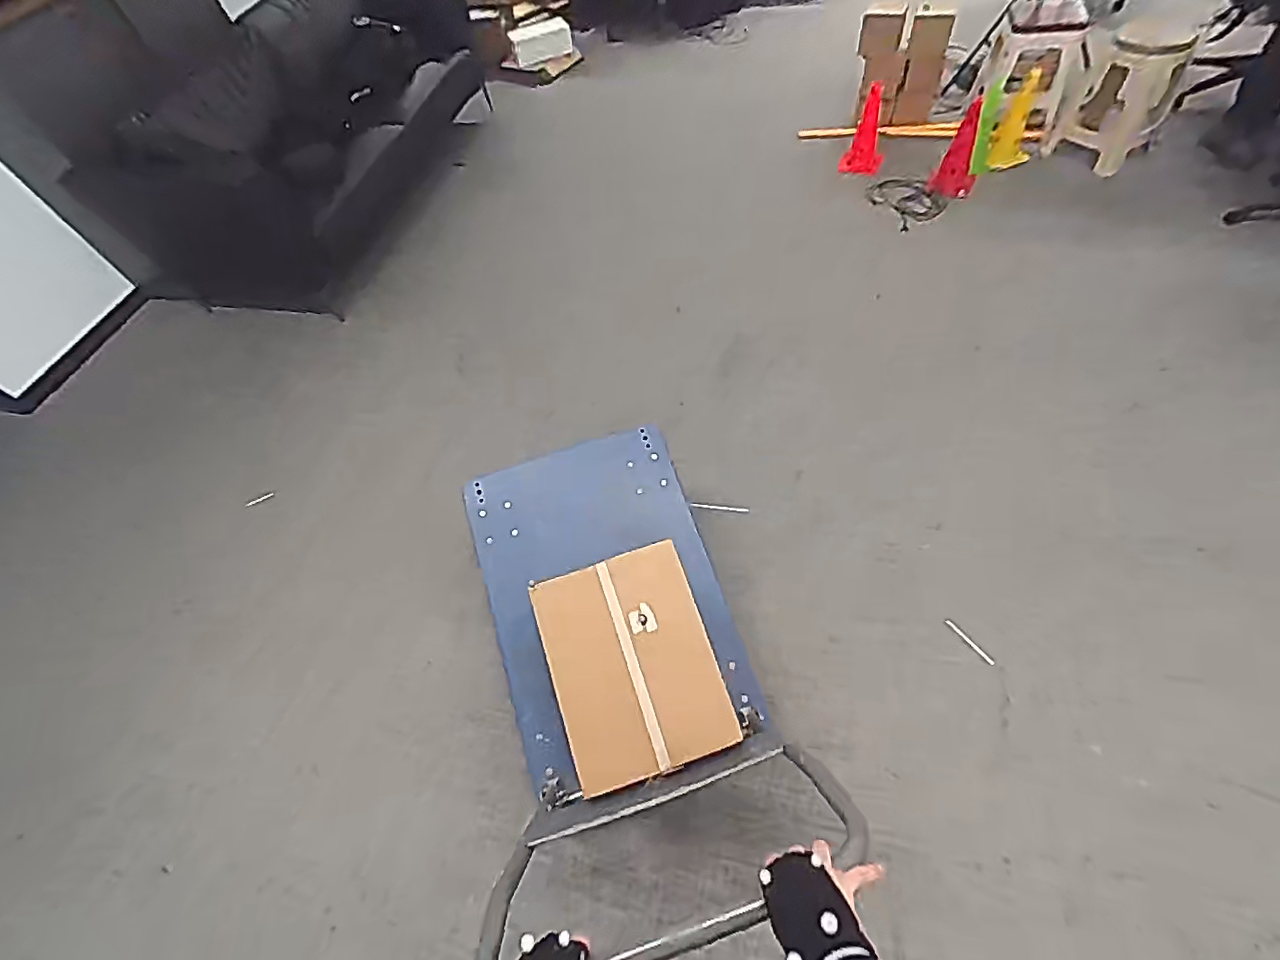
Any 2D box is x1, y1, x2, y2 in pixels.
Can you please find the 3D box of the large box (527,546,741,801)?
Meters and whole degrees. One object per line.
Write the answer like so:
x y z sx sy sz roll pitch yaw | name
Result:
-0.016 0.410 1.195 0.320 0.320 0.408 -19 71 -6 | large box
